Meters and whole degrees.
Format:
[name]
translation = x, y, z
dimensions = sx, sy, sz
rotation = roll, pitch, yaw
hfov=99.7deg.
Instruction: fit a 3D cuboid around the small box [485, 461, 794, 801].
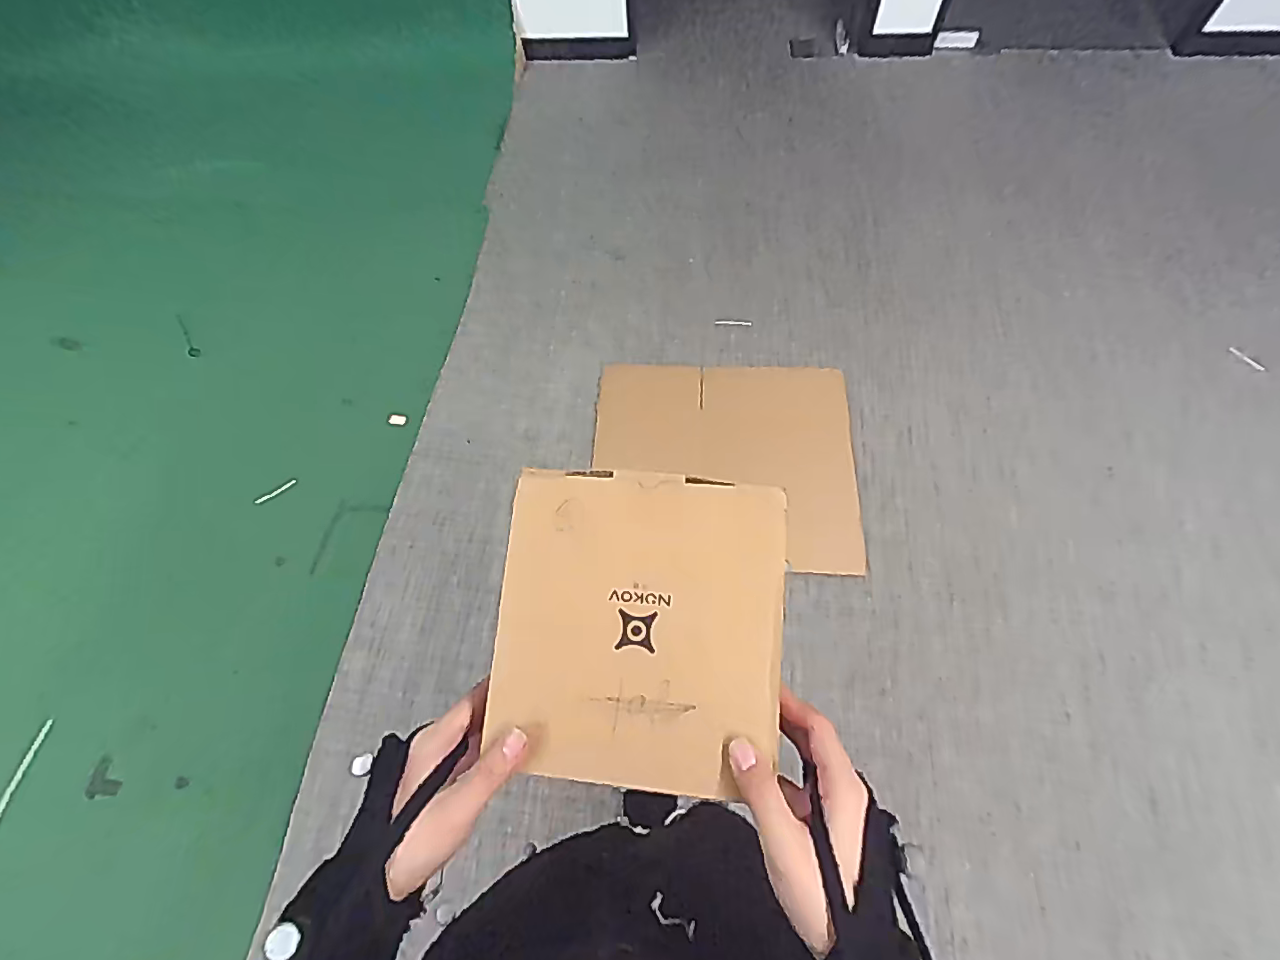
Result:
[small box]
translation = 0.009, 0.096, 0.389
dimensions = 0.168, 0.176, 0.179
rotation = 4, 79, 7
